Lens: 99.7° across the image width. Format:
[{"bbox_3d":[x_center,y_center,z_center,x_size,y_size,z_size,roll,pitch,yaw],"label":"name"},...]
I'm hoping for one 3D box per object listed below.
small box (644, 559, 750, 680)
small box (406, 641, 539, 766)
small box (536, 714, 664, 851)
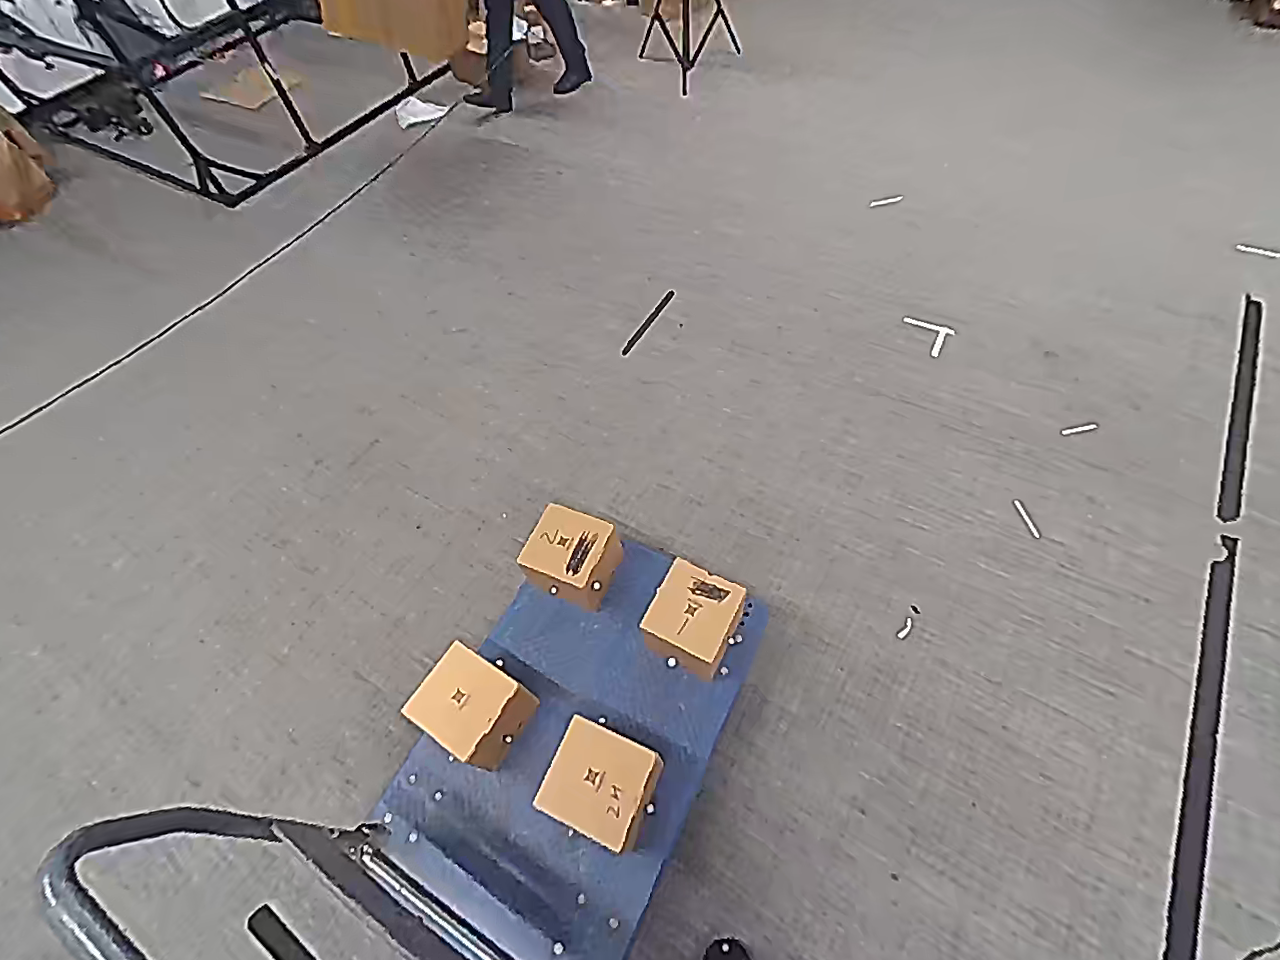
[{"bbox_3d":[0.124,0.307,1.178,0.168,0.176,0.179,23,64,20],"label":"small box"},{"bbox_3d":[-0.338,0.471,1.126,0.179,0.176,0.168,26,63,20],"label":"small box"},{"bbox_3d":[-0.065,0.575,1.025,0.179,0.176,0.168,18,61,17],"label":"small box"}]
